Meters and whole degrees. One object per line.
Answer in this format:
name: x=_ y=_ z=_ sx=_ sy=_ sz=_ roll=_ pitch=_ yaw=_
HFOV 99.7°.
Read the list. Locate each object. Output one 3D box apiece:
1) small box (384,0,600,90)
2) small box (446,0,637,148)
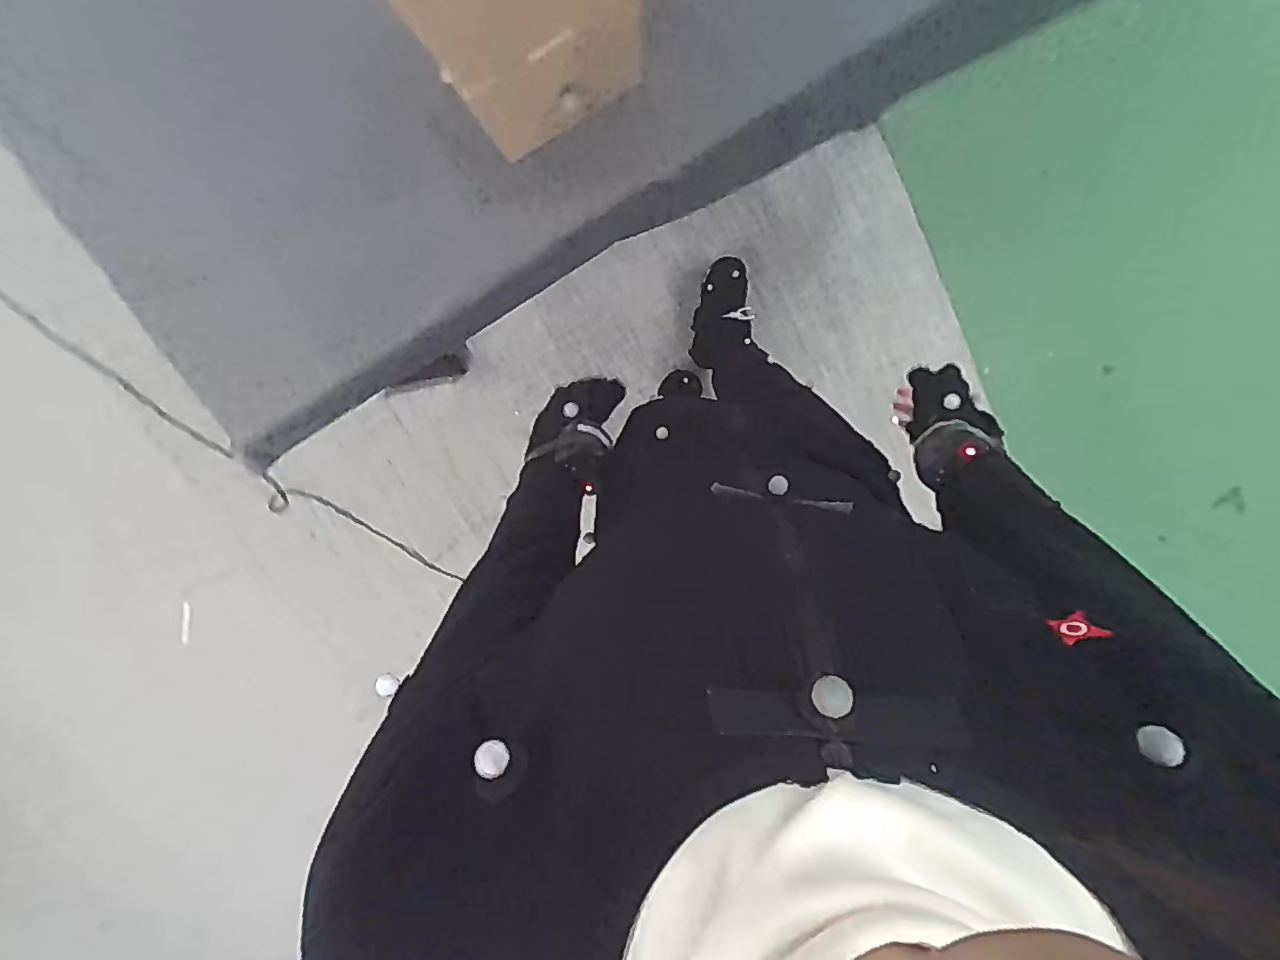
small box: x=-0.111 y=-0.398 z=0.332 sx=0.179 sy=0.176 sz=0.168 roll=-29 pitch=101 yaw=10
small box: x=-0.112 y=-0.439 z=0.492 sx=0.168 sy=0.176 sz=0.179 roll=-29 pitch=102 yaw=9
